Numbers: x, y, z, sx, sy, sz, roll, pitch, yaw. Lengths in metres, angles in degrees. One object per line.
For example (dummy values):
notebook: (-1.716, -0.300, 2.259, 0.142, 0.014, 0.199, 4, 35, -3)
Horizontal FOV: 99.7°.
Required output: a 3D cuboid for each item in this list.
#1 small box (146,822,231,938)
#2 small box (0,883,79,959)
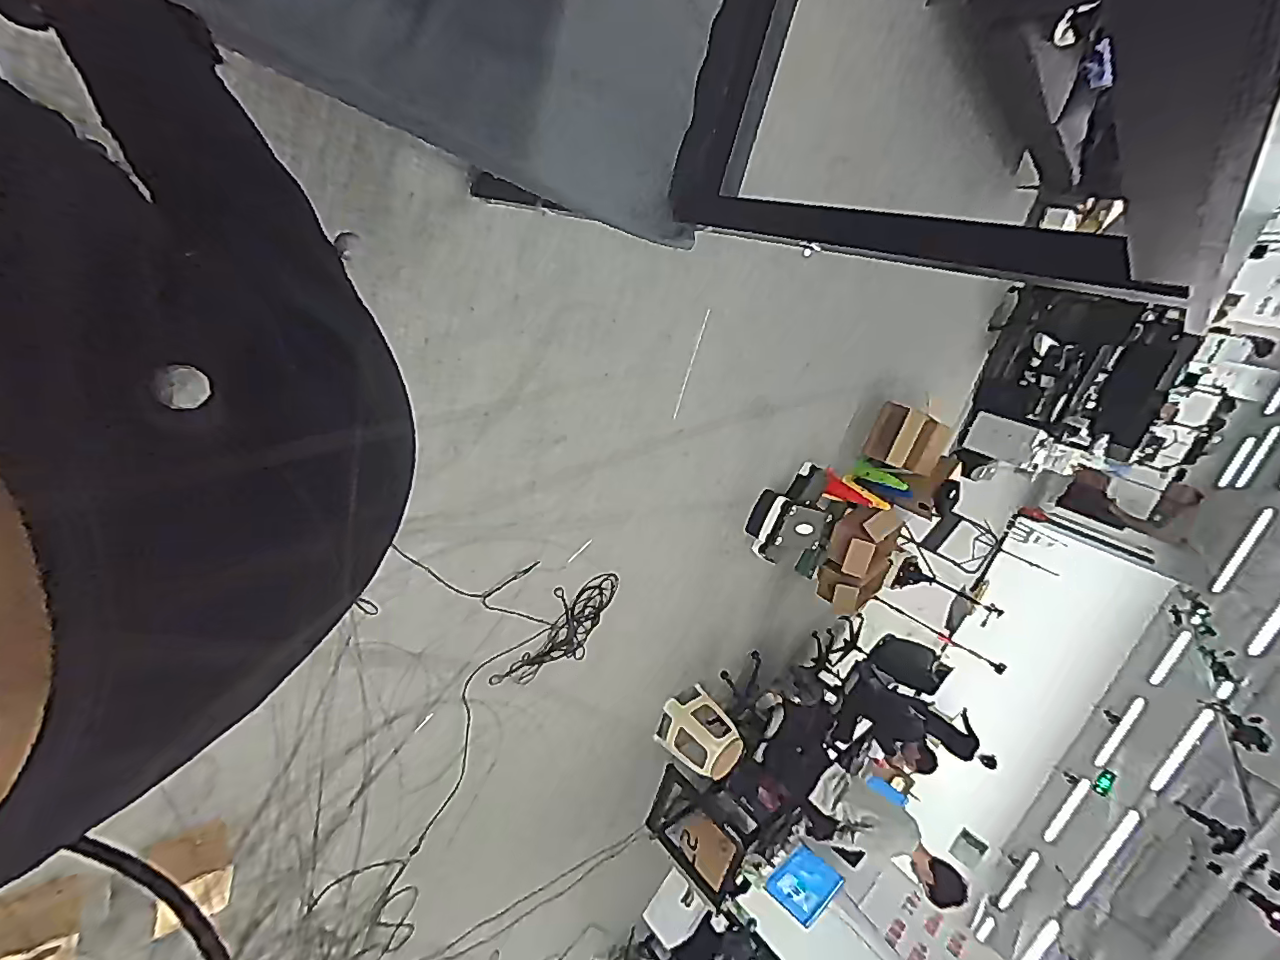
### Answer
small box: (-1.314, 1.151, 1.570, 0.168, 0.176, 0.179, 2, 112, -48)
small box: (-1.527, 1.149, 1.339, 0.168, 0.176, 0.179, 11, 106, -49)
